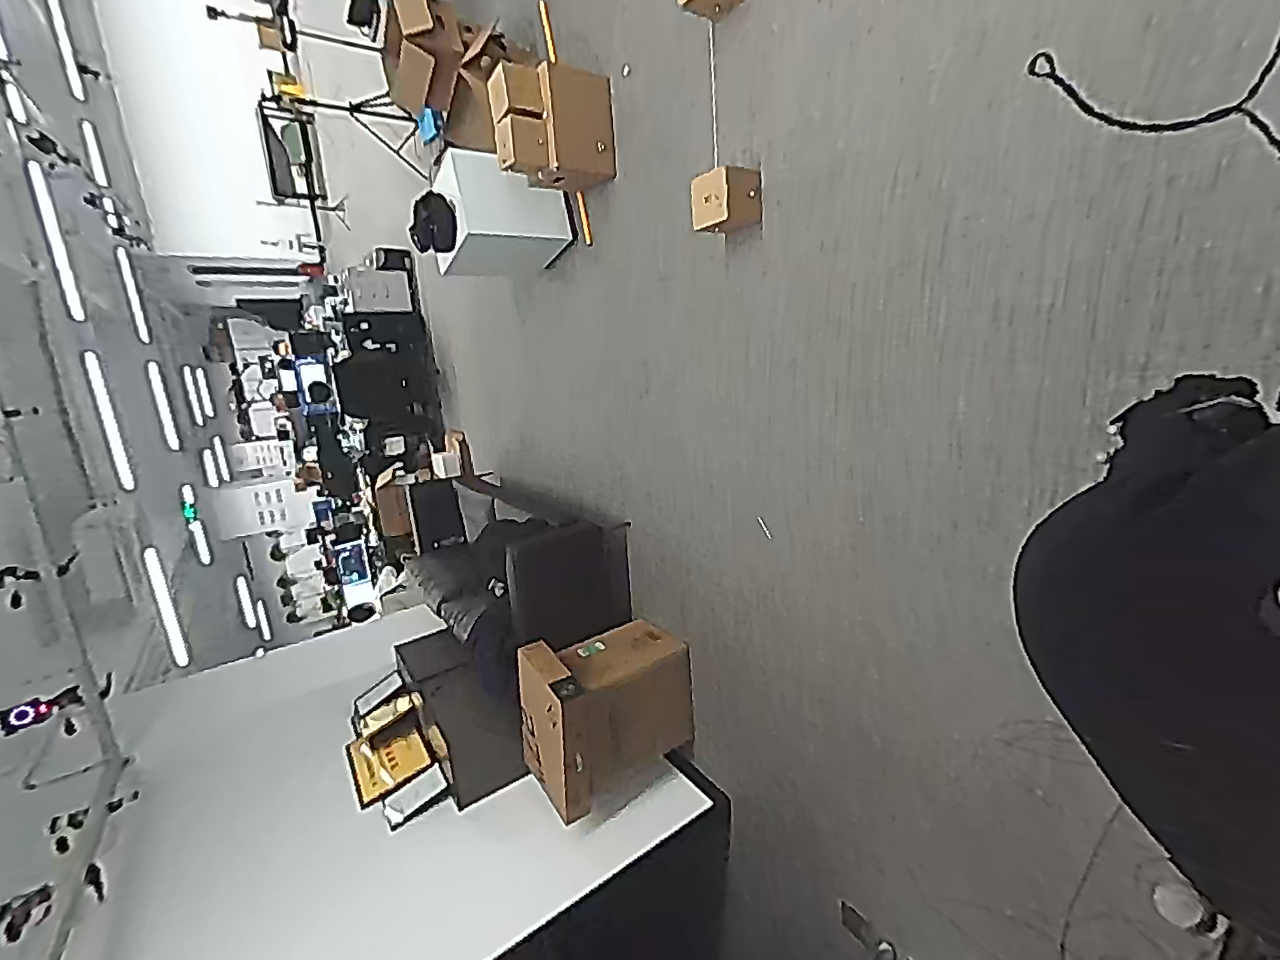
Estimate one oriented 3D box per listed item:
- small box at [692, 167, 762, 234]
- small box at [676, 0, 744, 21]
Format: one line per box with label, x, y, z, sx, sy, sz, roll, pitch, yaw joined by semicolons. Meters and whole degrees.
small box;0.301;-0.958;1.868;0.179;0.176;0.168;13;112;54
small box;0.227;-1.625;1.728;0.168;0.176;0.179;13;113;54
